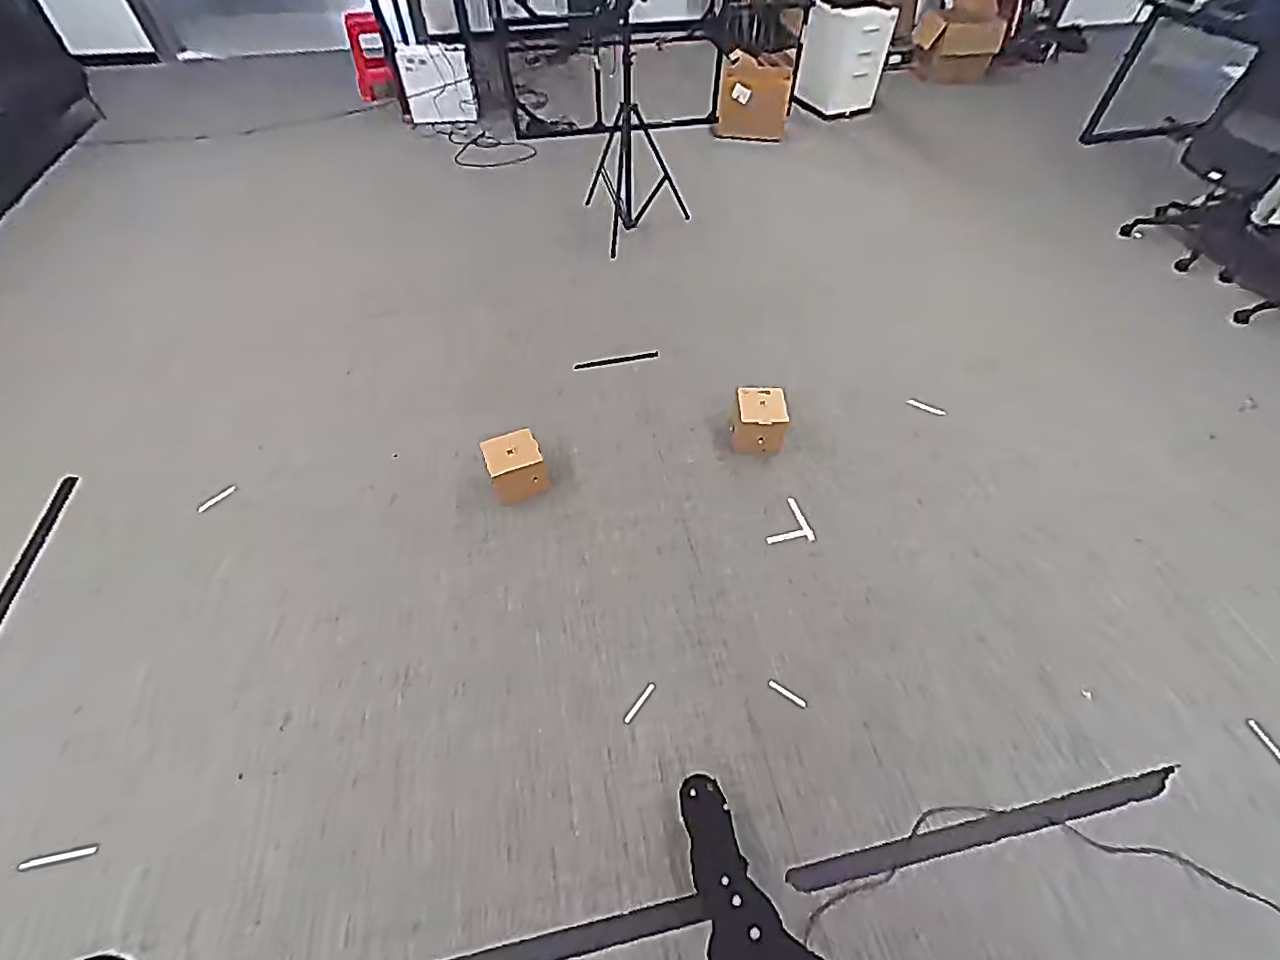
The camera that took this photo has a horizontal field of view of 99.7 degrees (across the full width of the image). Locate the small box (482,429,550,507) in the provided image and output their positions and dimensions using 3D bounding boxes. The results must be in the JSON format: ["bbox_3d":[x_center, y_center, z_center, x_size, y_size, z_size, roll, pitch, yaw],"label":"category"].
[{"bbox_3d":[-0.414,-0.038,1.834,0.179,0.176,0.168,-21,53,-14],"label":"small box"}]

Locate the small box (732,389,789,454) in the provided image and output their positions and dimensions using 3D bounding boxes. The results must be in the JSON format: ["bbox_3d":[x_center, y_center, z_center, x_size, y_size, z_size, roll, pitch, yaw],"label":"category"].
[{"bbox_3d":[0.433,-0.209,1.967,0.168,0.176,0.179,2,53,0],"label":"small box"}]
